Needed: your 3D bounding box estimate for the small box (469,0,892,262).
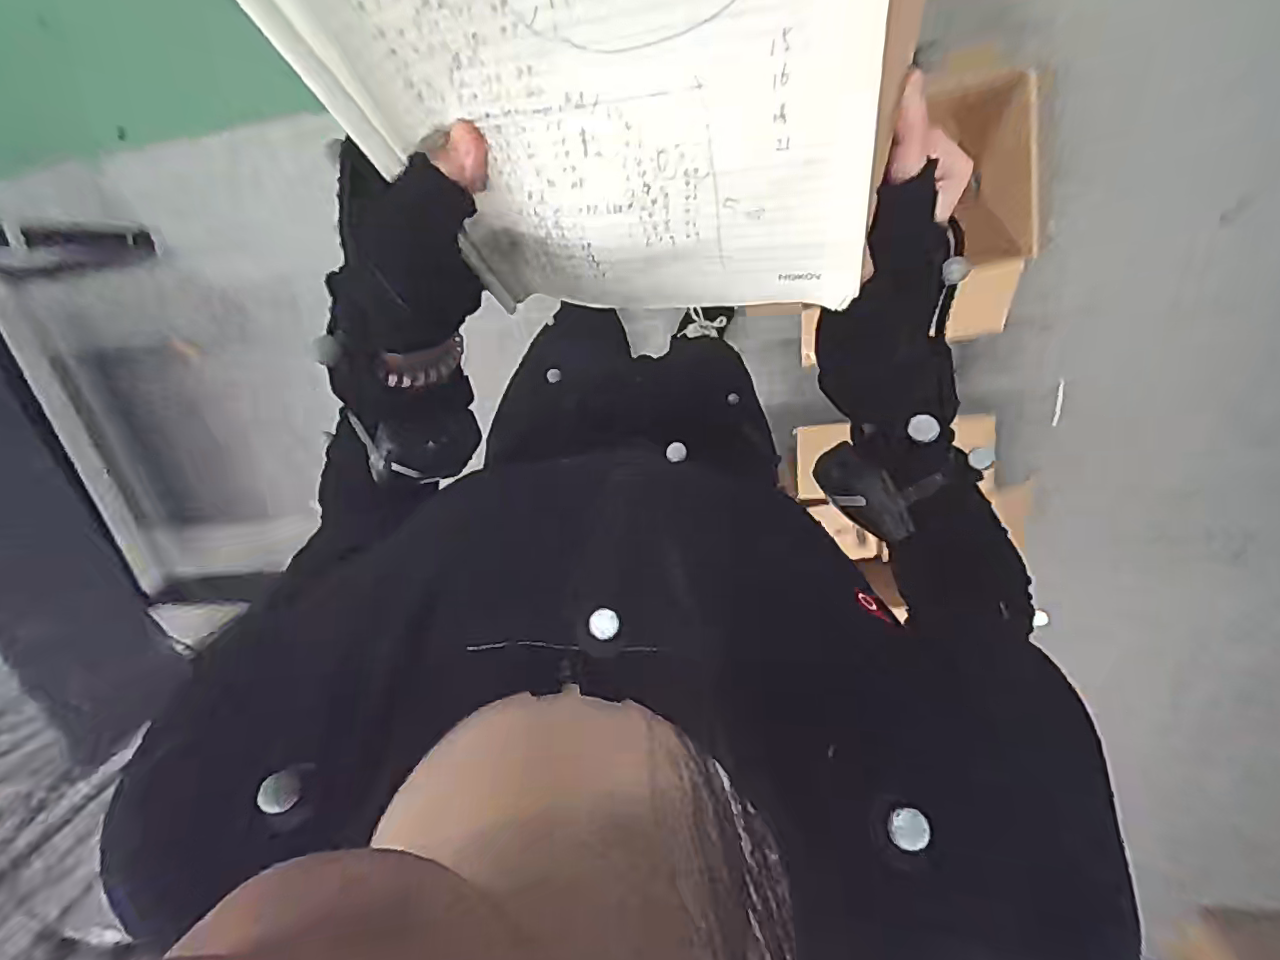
[{"bbox_3d":[0.035,-0.236,0.262,0.168,0.176,0.179,8,152,15],"label":"small box"}]
